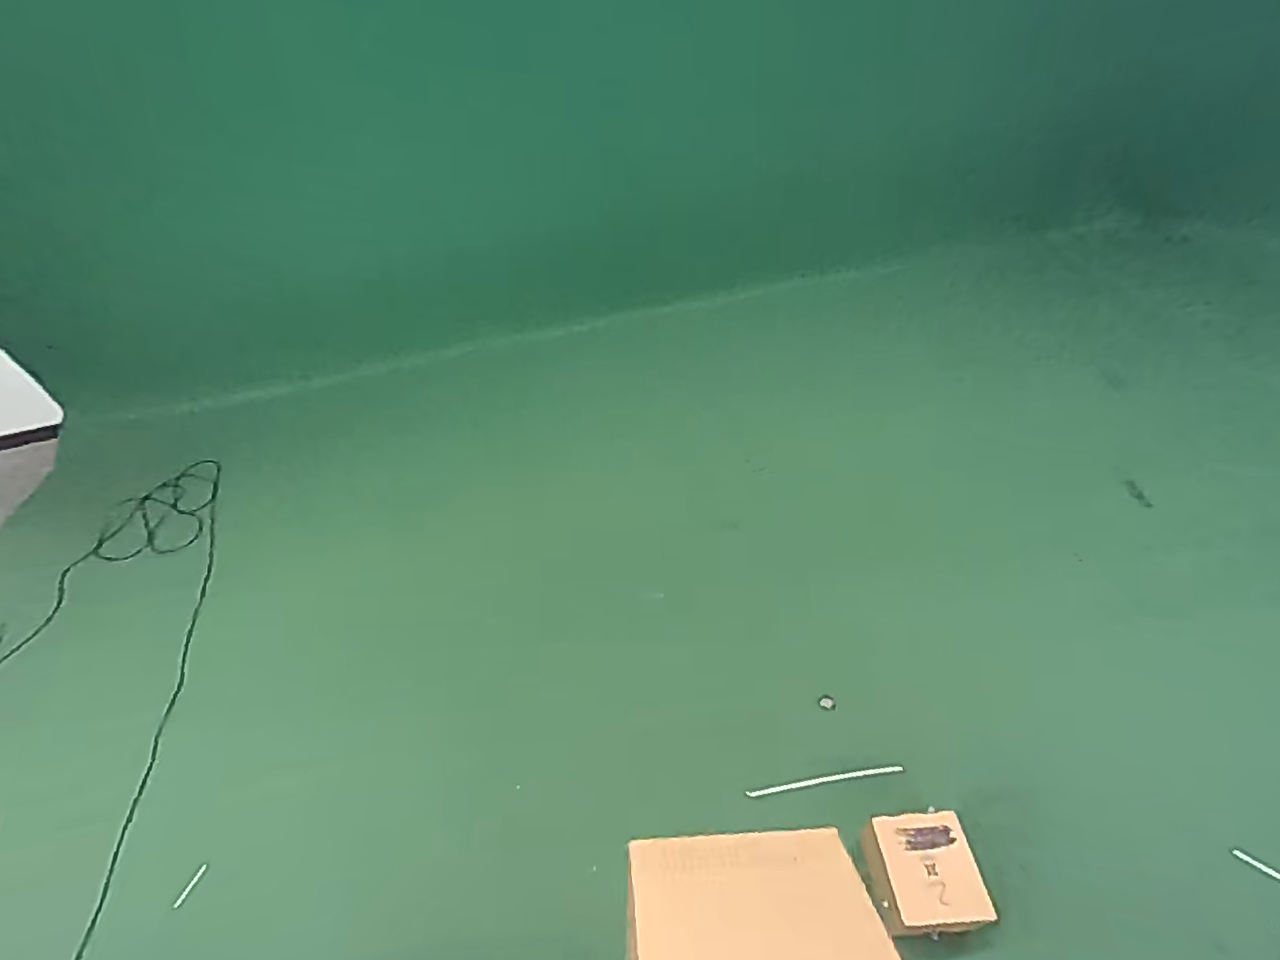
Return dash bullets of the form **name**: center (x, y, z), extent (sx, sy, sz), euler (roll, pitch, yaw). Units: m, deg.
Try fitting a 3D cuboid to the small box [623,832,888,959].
- **small box**: center (0.081, 0.384, 0.384), extent (0.179, 0.168, 0.176), euler (0, 15, -4)
